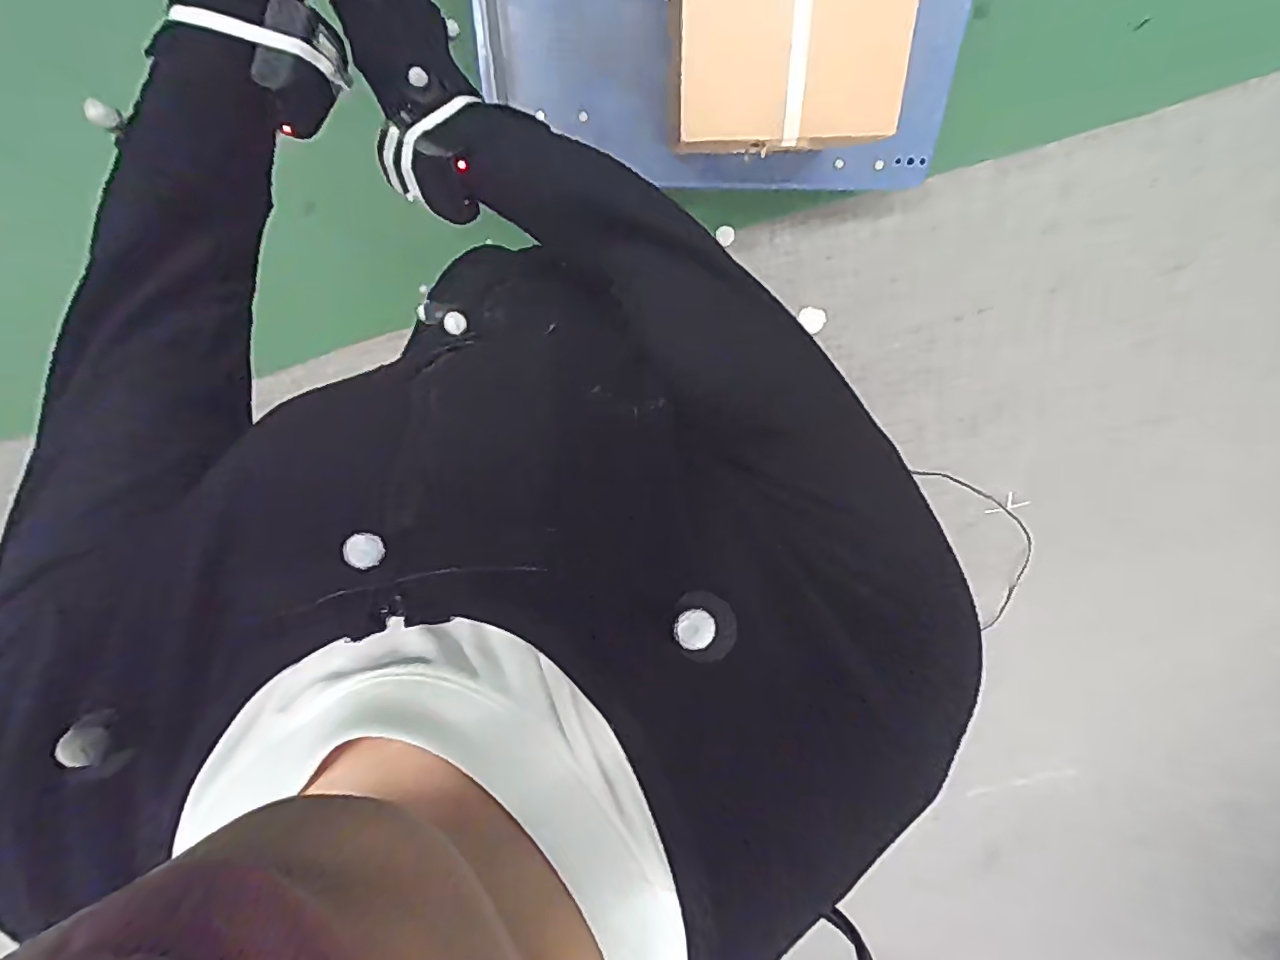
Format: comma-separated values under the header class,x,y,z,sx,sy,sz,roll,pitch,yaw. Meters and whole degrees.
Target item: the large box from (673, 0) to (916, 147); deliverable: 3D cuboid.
class,x,y,z,sx,sy,sz,roll,pitch,yaw
large box,0.208,-0.751,0.815,0.320,0.320,0.408,-2,118,-1
